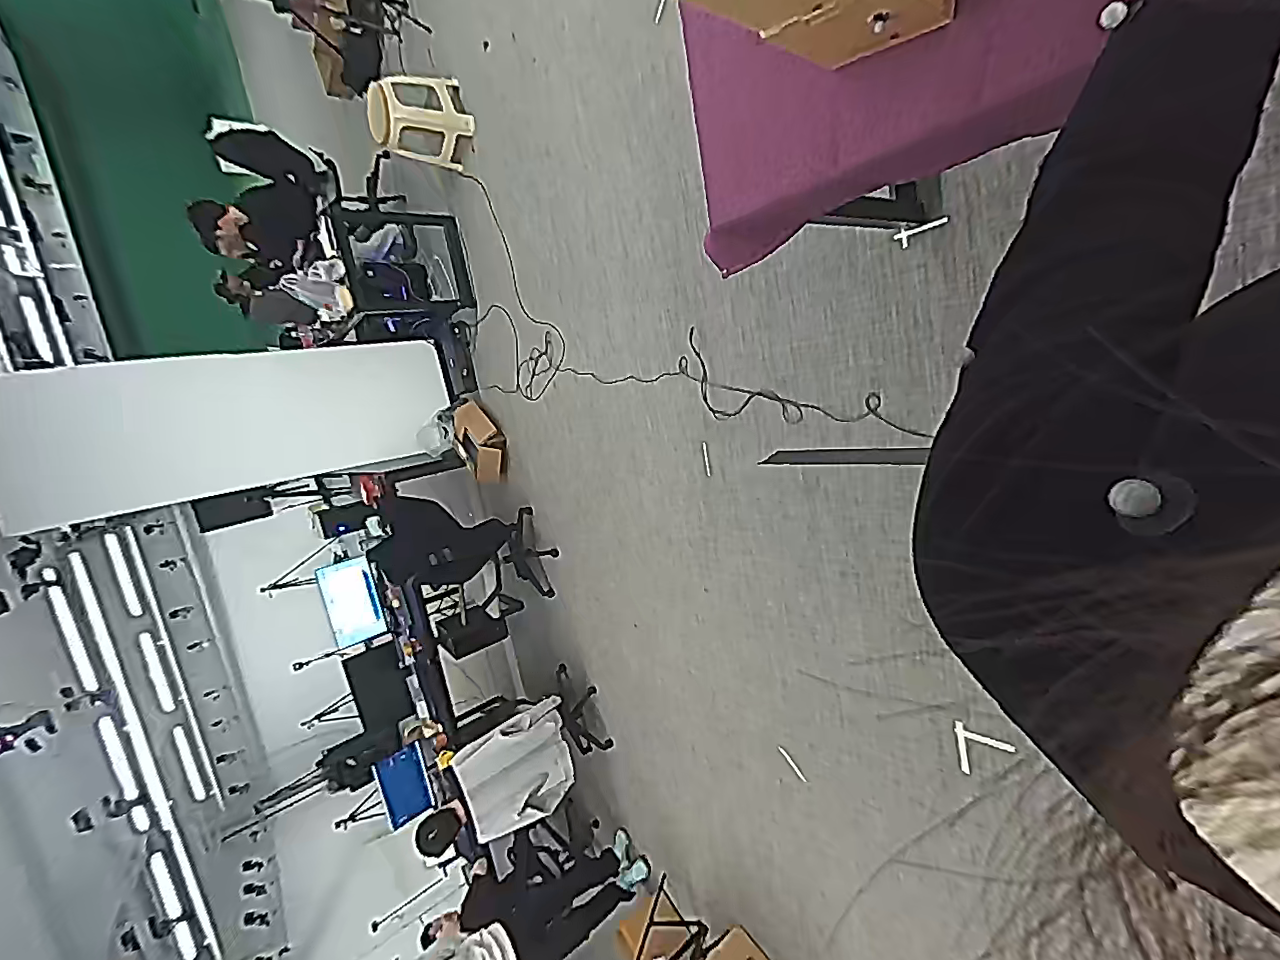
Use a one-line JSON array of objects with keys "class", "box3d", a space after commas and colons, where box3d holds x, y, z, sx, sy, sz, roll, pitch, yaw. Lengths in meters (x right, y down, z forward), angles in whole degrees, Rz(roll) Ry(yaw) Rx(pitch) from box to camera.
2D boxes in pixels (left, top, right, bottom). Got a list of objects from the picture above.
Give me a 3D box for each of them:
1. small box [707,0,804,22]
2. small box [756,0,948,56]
[{"class": "small box", "box3d": [0.132, -0.593, 0.530, 0.179, 0.176, 0.168, 20, 120, 46]}, {"class": "small box", "box3d": [0.255, -0.632, 0.632, 0.168, 0.176, 0.179, 18, 118, 47]}]
